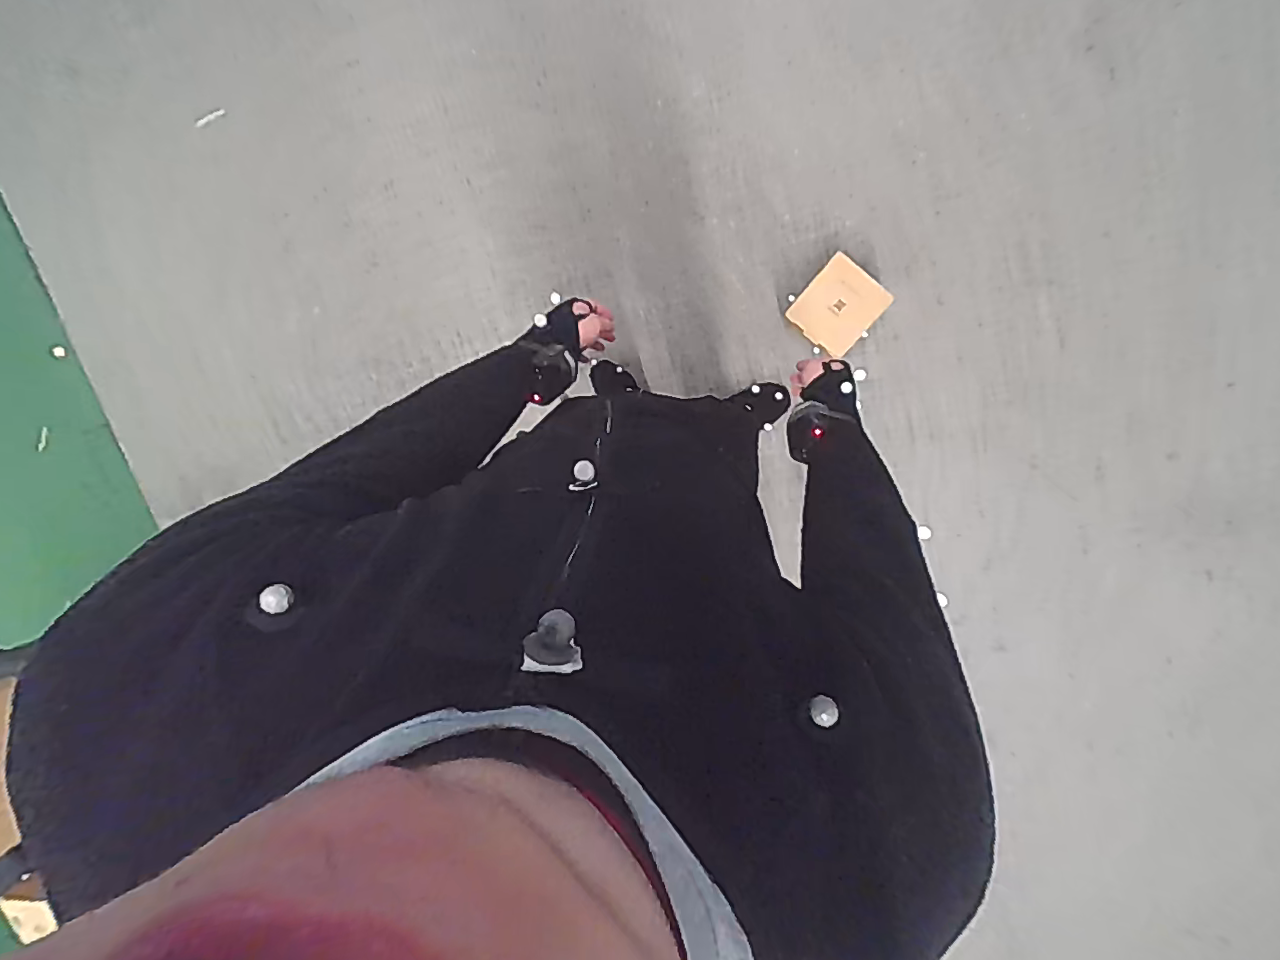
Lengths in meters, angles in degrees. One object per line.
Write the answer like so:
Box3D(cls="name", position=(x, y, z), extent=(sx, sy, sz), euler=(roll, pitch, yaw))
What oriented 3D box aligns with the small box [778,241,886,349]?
Box3D(cls="small box", position=(0.448, -0.435, 1.291), extent=(0.168, 0.176, 0.179), euler=(39, 109, -3))
